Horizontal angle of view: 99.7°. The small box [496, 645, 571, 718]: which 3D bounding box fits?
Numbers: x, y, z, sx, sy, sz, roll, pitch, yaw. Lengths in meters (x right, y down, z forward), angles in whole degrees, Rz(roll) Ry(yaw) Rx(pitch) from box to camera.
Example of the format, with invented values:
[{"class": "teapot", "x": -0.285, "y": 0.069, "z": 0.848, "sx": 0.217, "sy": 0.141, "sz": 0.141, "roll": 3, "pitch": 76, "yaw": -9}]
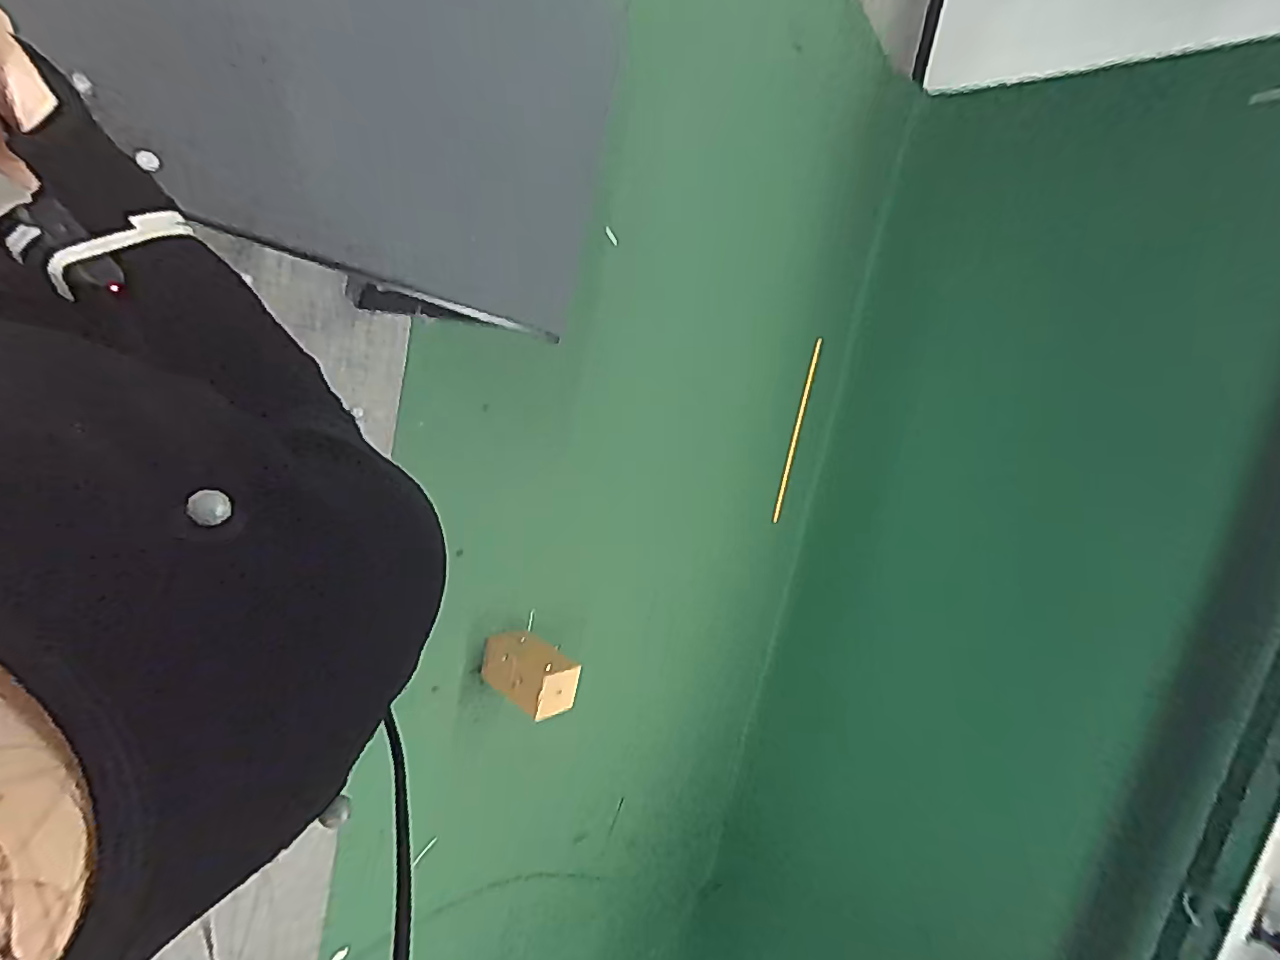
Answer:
[{"class": "small box", "x": -0.378, "y": 0.705, "z": 1.918, "sx": 0.179, "sy": 0.176, "sz": 0.168, "roll": 4, "pitch": 102, "yaw": -52}]
